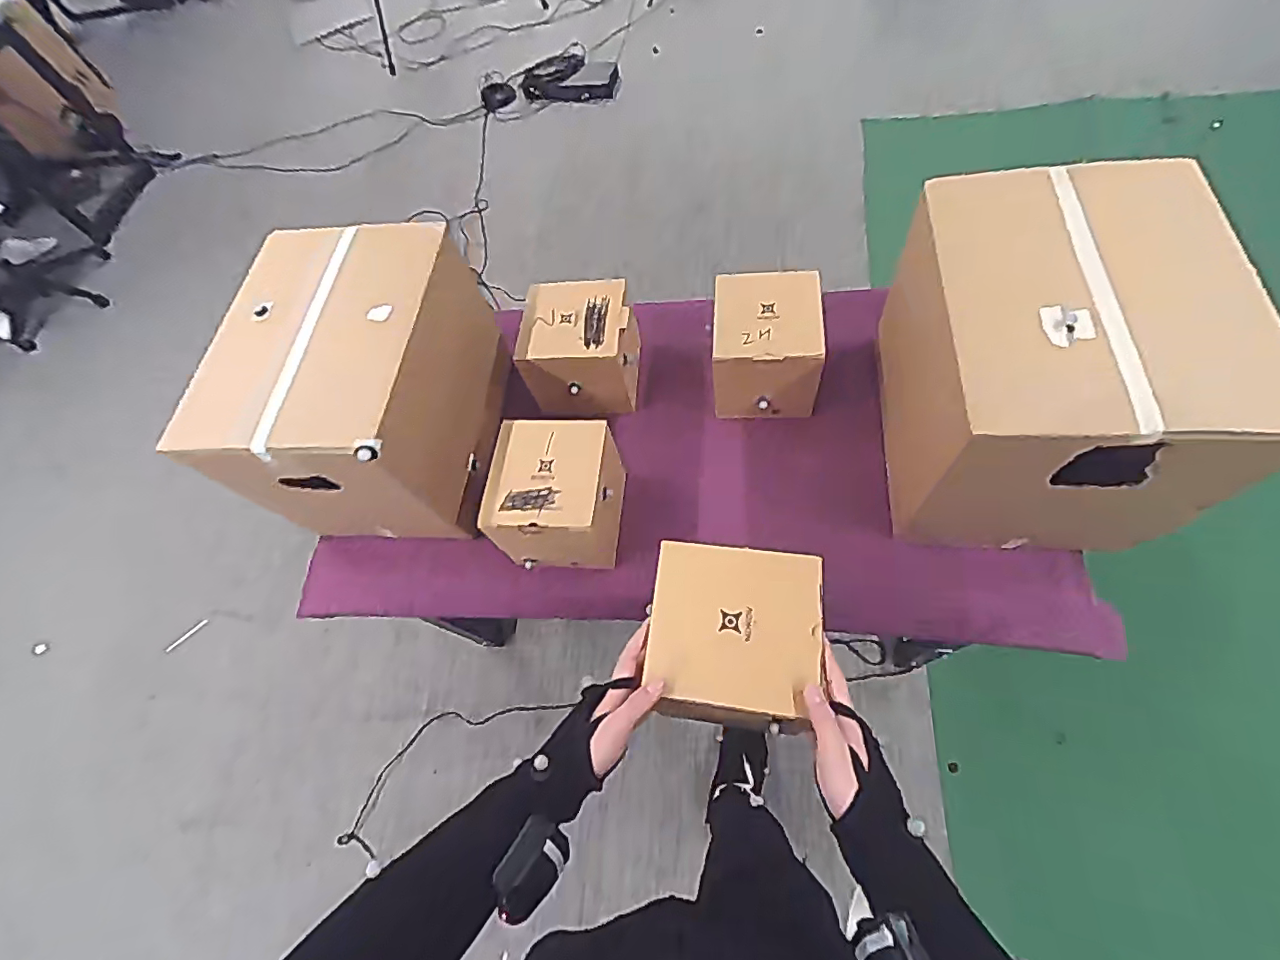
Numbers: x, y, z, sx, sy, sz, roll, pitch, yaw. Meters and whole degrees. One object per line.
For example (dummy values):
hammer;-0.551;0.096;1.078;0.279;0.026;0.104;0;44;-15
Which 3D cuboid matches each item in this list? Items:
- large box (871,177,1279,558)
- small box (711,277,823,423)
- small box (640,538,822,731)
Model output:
large box;0.528;-0.137;0.741;0.320;0.320;0.408;1;64;11
small box;0.206;-0.215;0.908;0.168;0.176;0.179;1;64;10
small box;0.104;0.182;0.622;0.179;0.176;0.168;5;60;8
